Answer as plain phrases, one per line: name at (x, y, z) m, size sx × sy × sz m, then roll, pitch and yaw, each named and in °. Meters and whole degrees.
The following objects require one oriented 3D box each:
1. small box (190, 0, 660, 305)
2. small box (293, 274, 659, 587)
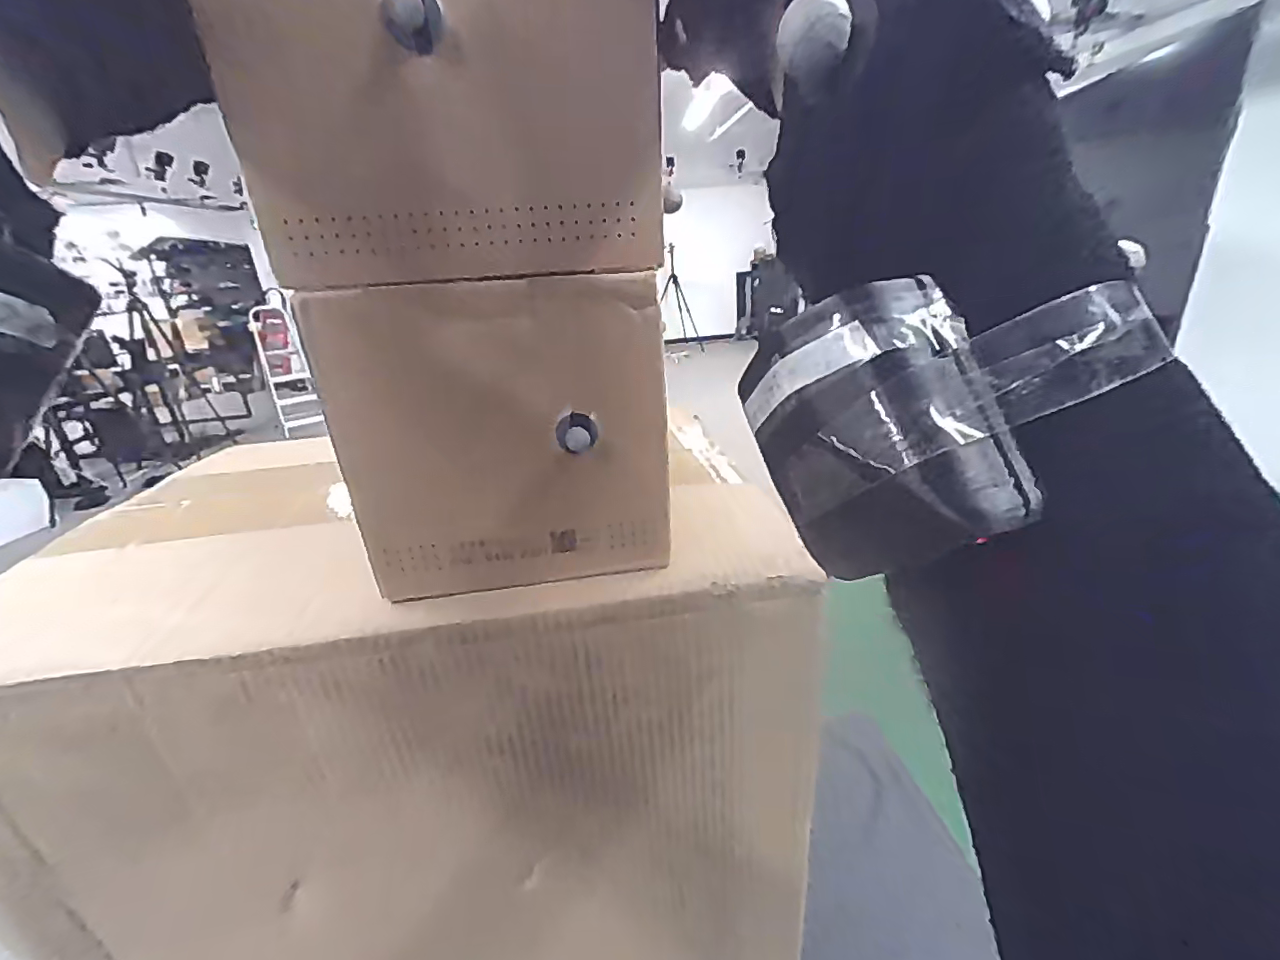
small box at (-0.089, -0.190, 0.285) m, size 0.179 × 0.176 × 0.168 m, roll -6°, pitch 26°, yaw -10°
small box at (-0.082, -0.043, 0.356) m, size 0.168 × 0.176 × 0.179 m, roll -5°, pitch 24°, yaw -6°
